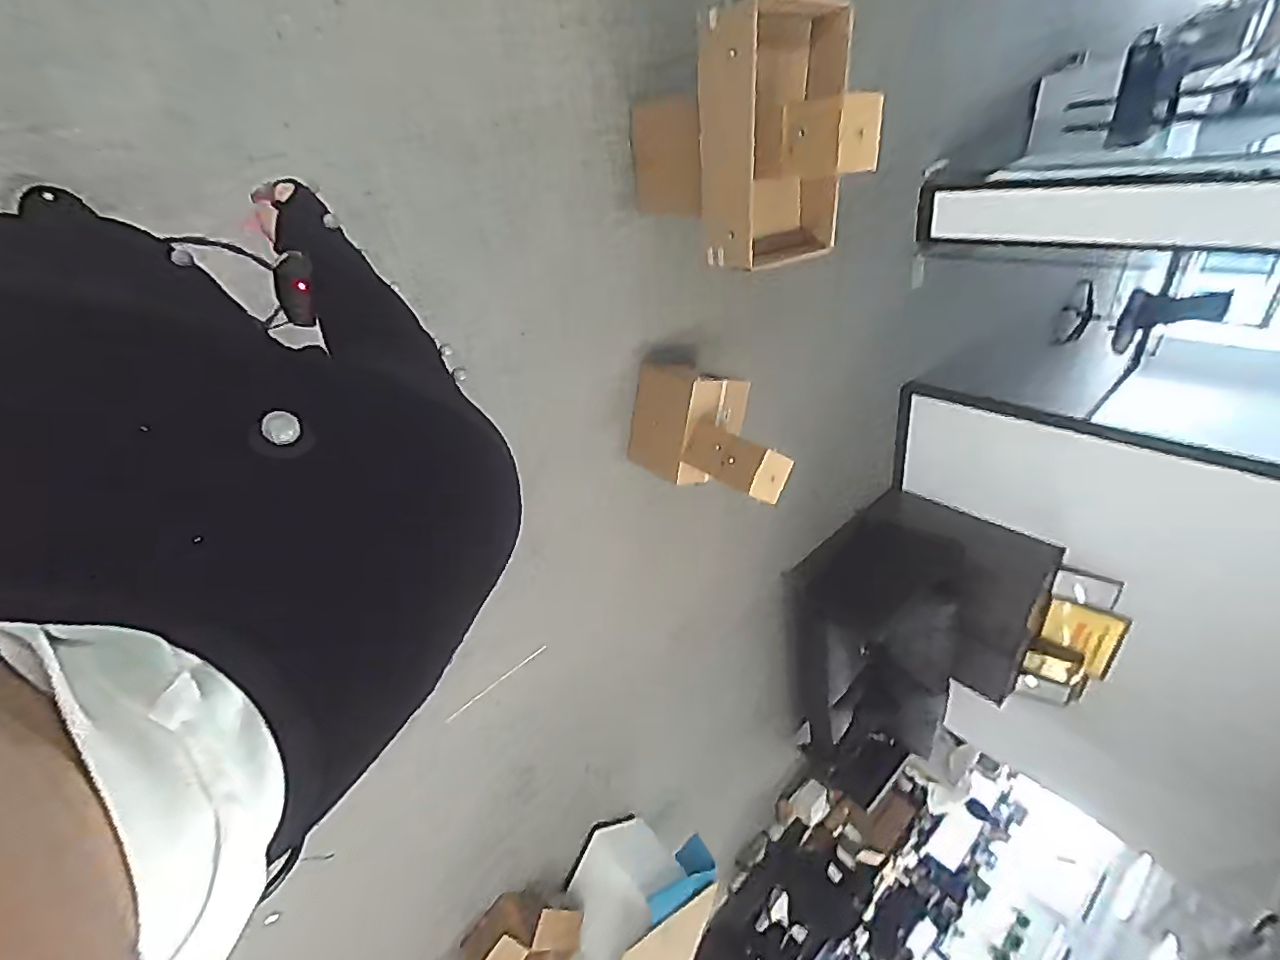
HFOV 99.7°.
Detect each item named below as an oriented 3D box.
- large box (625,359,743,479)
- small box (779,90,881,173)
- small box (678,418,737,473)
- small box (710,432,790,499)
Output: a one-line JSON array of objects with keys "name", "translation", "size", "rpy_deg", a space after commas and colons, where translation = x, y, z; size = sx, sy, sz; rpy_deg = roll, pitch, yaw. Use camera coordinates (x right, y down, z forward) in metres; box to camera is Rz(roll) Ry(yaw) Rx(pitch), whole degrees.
[{"name": "large box", "translation": [0.166, -0.257, 2.166], "size": [0.320, 0.320, 0.408], "rpy_deg": [-9, 116, -40]}, {"name": "small box", "translation": [0.484, -0.891, 1.390], "size": [0.179, 0.176, 0.168], "rpy_deg": [-25, 125, -31]}, {"name": "small box", "translation": [0.275, -0.115, 1.984], "size": [0.179, 0.176, 0.168], "rpy_deg": [17, 99, -45]}, {"name": "small box", "translation": [0.378, -0.053, 1.869], "size": [0.179, 0.176, 0.168], "rpy_deg": [16, 99, -44]}]
